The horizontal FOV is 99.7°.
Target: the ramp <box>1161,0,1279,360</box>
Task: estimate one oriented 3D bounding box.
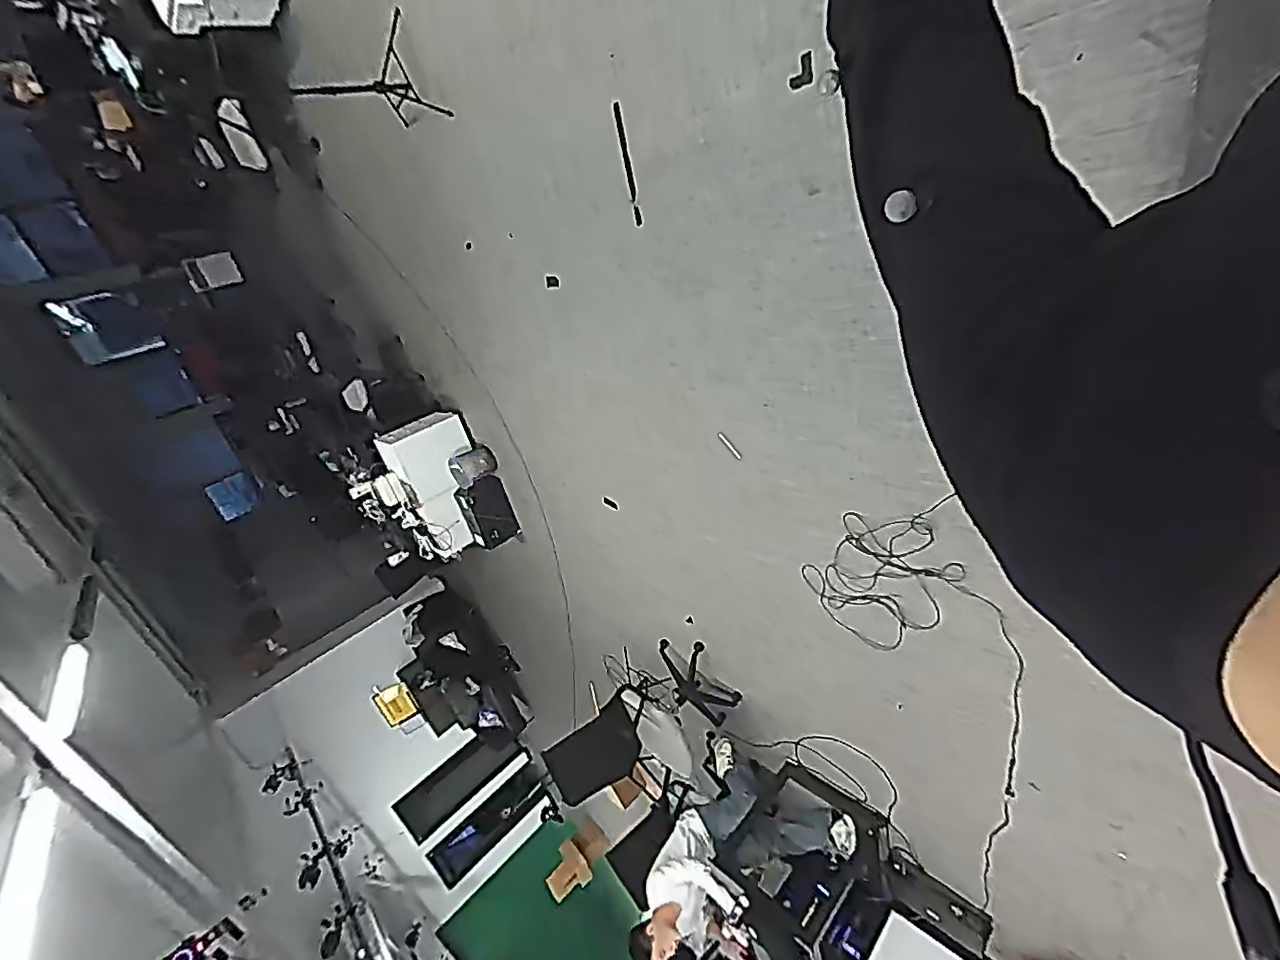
[{"bbox_3d":[1.139,-0.618,0.774,0.509,0.206,0.991,11,126,46],"label":"ramp"}]
